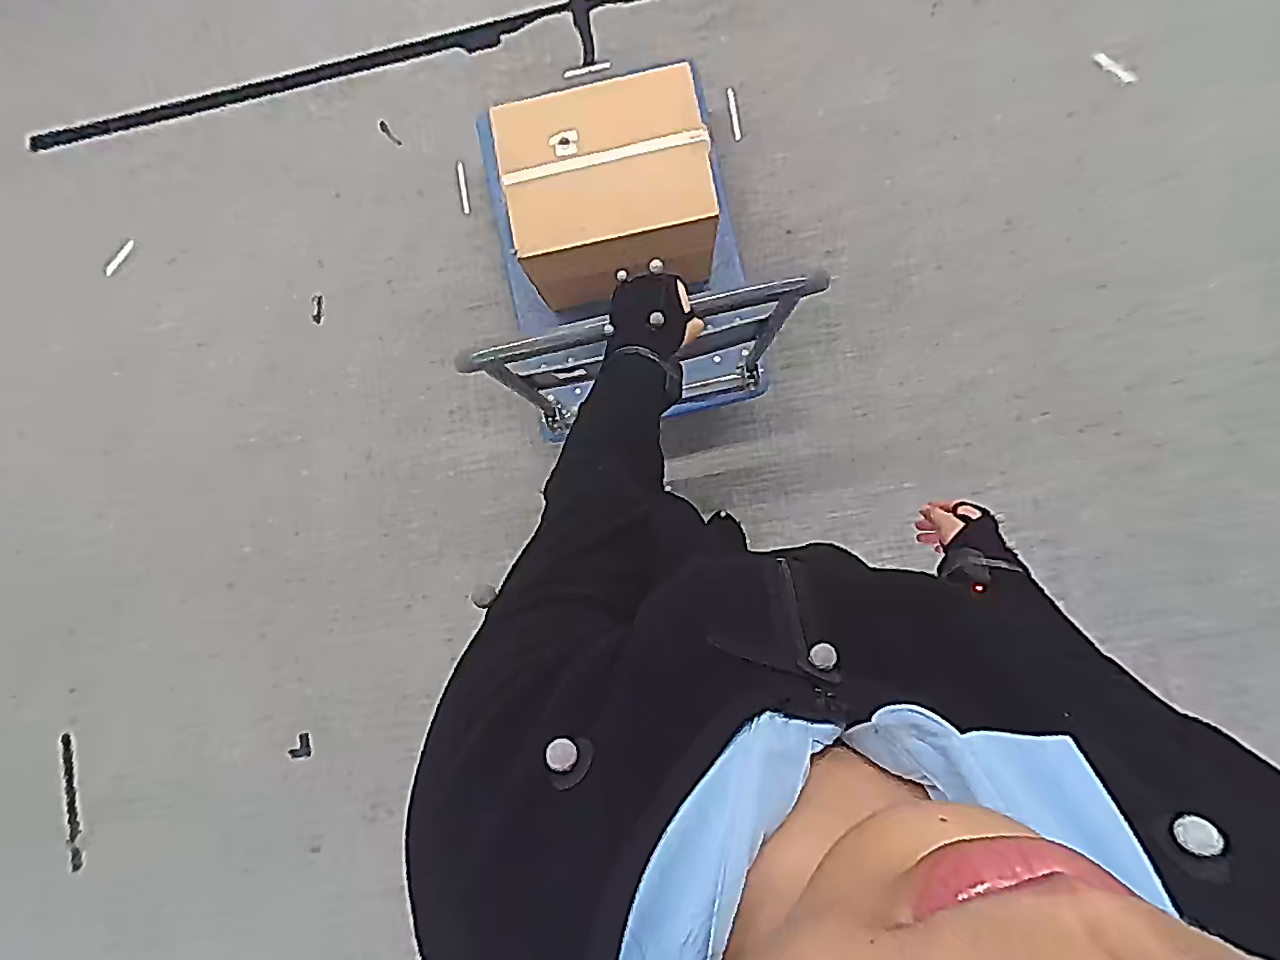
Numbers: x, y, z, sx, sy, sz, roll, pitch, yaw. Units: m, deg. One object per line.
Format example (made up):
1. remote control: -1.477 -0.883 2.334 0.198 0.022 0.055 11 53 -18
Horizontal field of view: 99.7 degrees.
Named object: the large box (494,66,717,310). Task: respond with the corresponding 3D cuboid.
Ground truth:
1. large box: -0.059 -0.619 1.215 0.408 0.320 0.320 -11 86 4
